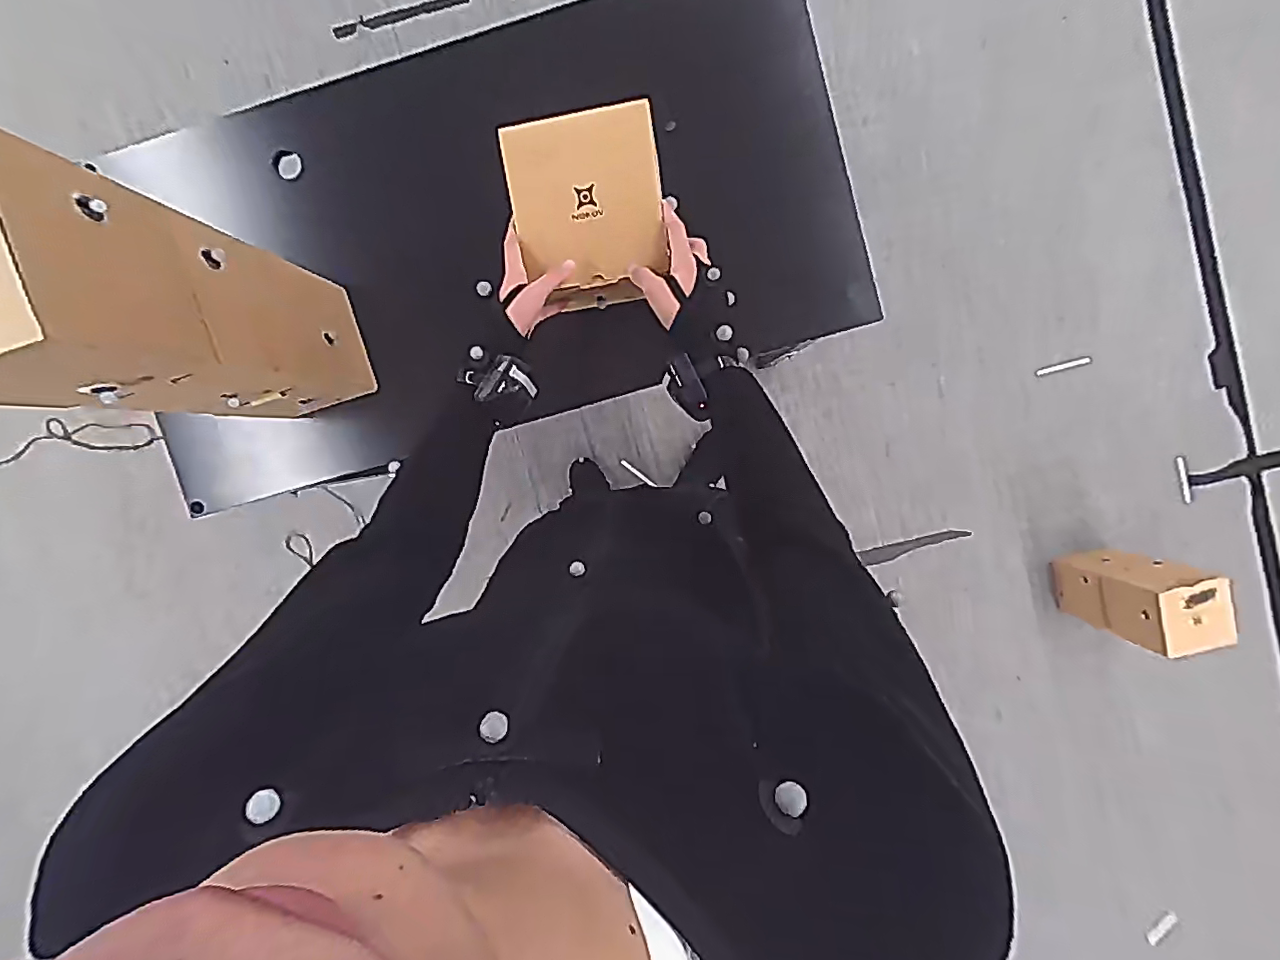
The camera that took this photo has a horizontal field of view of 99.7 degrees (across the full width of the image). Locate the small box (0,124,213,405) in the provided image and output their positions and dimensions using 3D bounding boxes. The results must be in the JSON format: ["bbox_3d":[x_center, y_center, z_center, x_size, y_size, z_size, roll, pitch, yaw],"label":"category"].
[{"bbox_3d":[-0.542,-0.174,0.480,0.168,0.176,0.179,-17,95,4],"label":"small box"}]

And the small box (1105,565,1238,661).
[{"bbox_3d":[1.328,0.325,1.364,0.168,0.176,0.179,-15,96,3],"label":"small box"}]

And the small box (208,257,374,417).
[{"bbox_3d":[-0.534,-0.201,0.807,0.168,0.176,0.179,-17,95,3],"label":"small box"}]

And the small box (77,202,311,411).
[{"bbox_3d":[-0.539,-0.188,0.642,0.168,0.176,0.179,-16,95,4],"label":"small box"}]

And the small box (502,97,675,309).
[{"bbox_3d":[-0.050,-0.316,0.656,0.168,0.176,0.179,-8,102,5],"label":"small box"}]
